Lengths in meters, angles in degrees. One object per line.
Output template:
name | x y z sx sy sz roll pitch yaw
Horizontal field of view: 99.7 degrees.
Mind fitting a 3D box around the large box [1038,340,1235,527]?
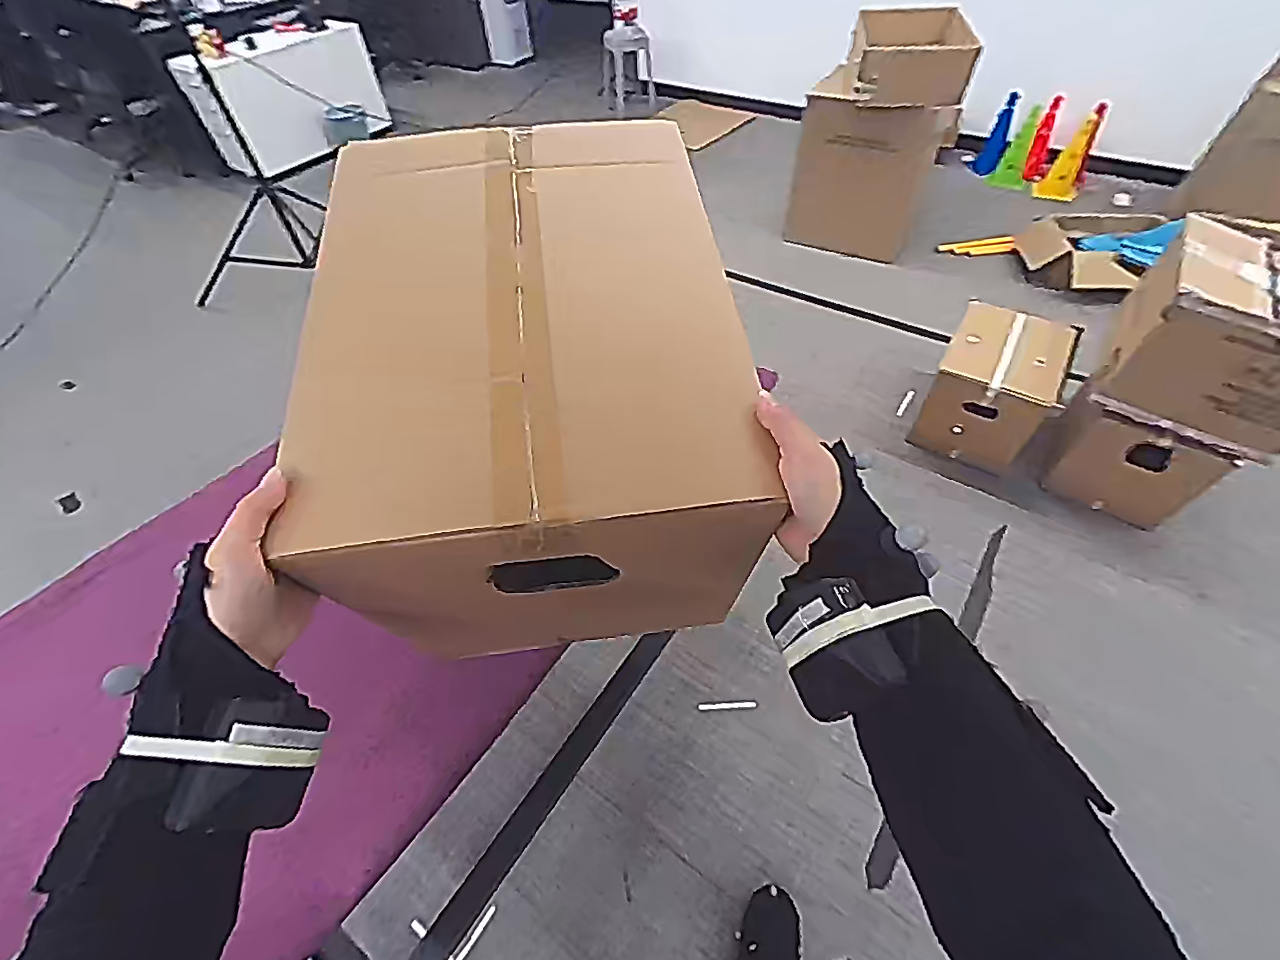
large box | 1.462 -0.144 1.612 0.320 0.320 0.408 26 58 22
